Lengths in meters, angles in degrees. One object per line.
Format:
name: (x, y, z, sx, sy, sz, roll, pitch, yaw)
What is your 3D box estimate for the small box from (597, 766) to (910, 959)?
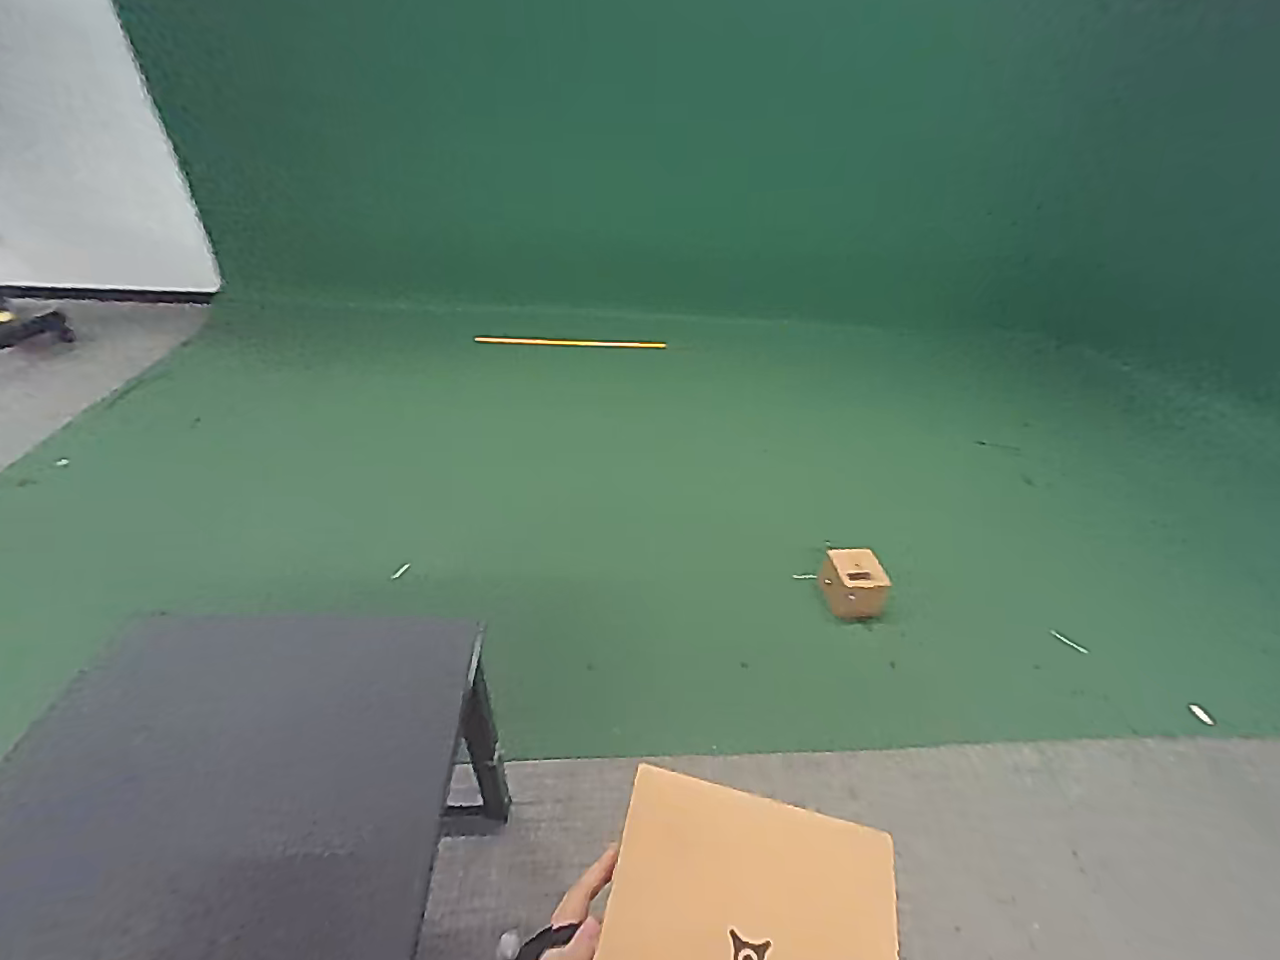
small box: (0.057, 0.320, 0.349, 0.168, 0.176, 0.179, 13, 49, 7)
